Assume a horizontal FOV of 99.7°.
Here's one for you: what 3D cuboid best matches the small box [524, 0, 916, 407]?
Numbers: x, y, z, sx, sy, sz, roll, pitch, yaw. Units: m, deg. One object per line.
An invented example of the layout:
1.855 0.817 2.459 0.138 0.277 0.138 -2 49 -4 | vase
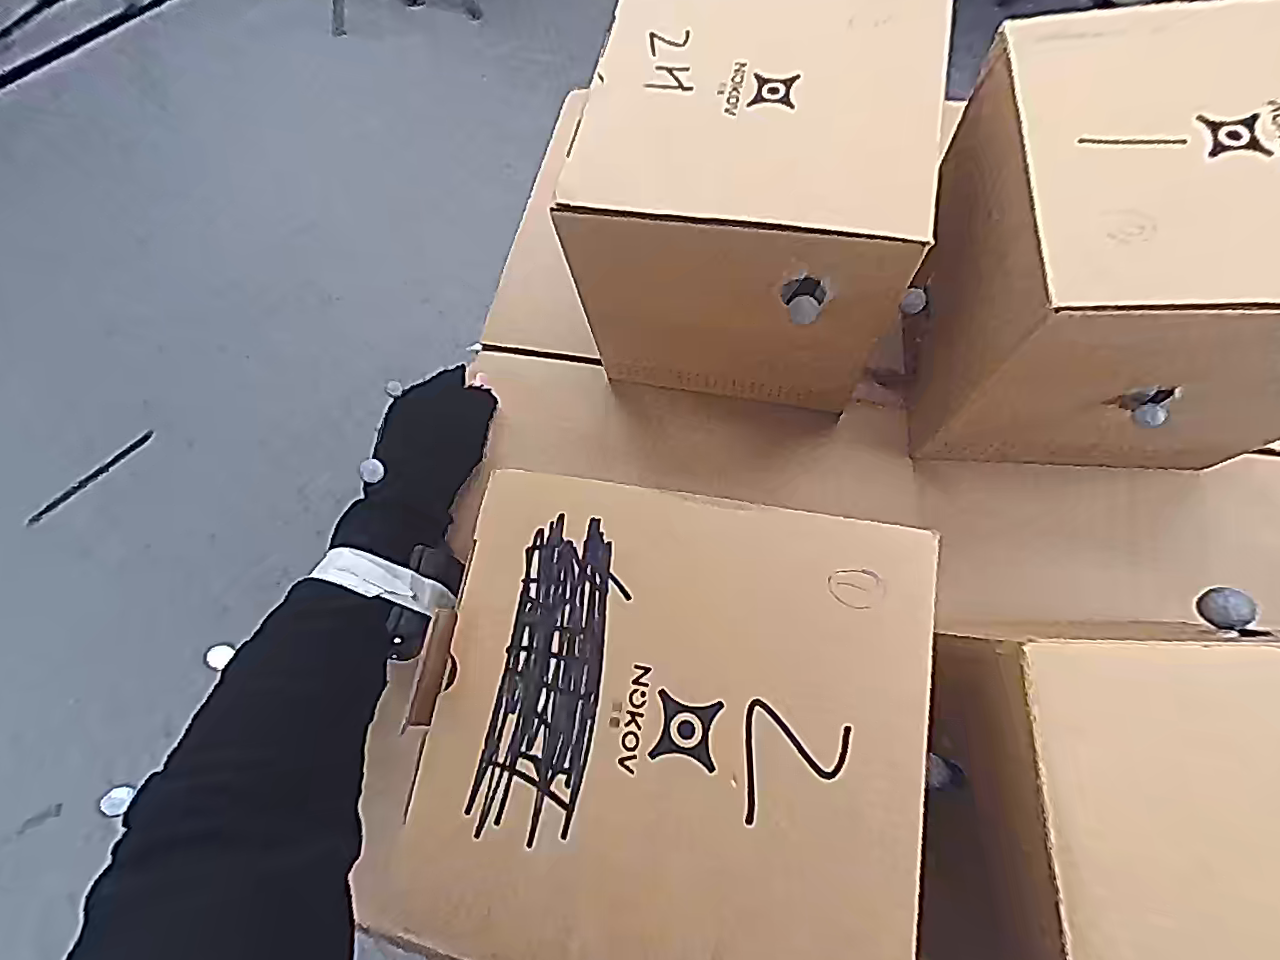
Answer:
0.053 -0.162 0.352 0.179 0.176 0.168 10 72 11 | small box
